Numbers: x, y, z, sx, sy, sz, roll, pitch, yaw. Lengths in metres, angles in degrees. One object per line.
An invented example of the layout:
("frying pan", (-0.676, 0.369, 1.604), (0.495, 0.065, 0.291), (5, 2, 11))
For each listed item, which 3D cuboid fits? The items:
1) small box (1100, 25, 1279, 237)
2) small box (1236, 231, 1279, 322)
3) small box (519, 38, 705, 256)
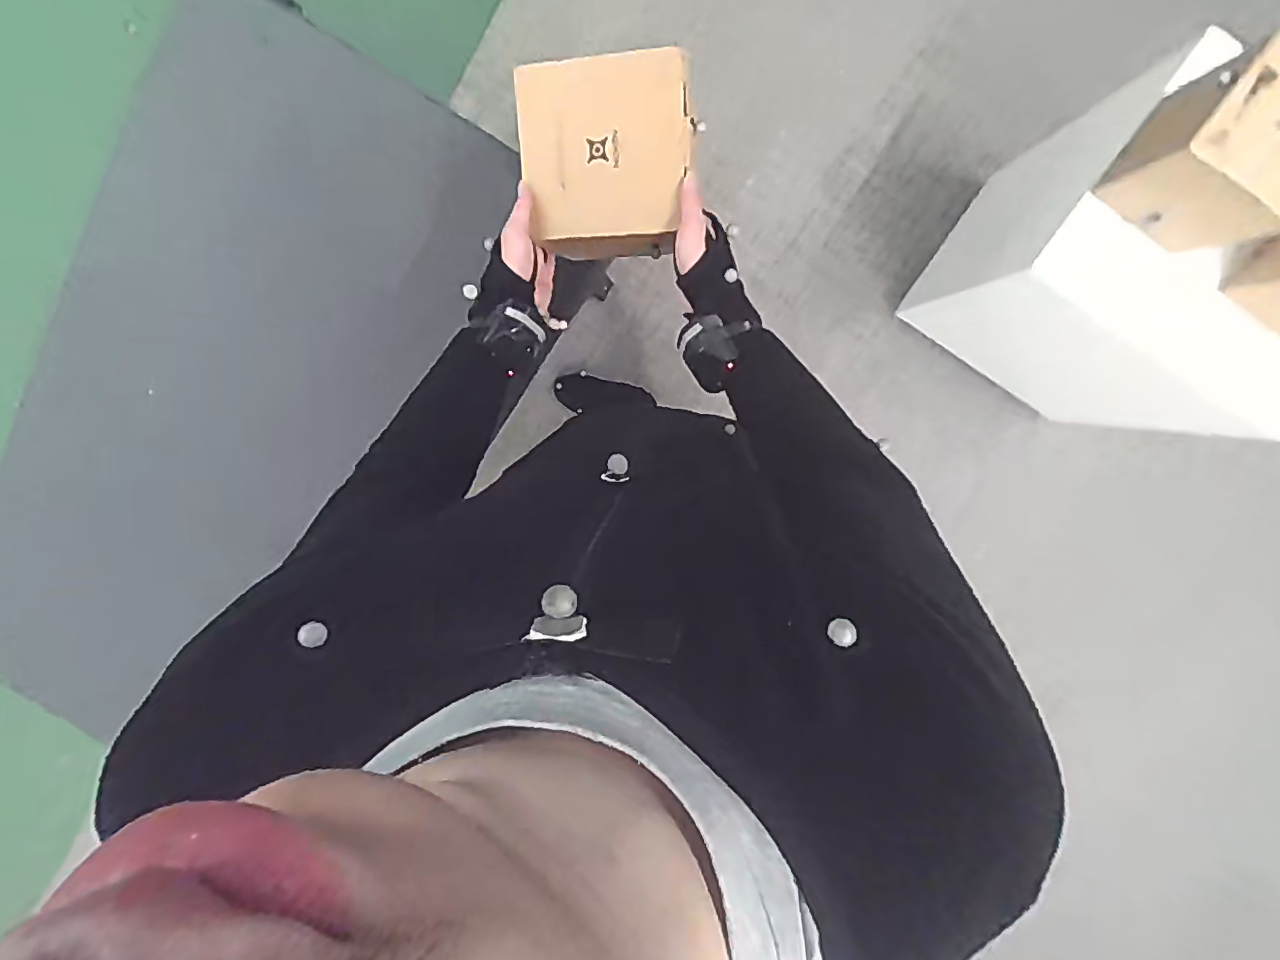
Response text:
("small box", (0.796, -0.453, 0.725), (0.179, 0.176, 0.168), (34, 101, -4))
("small box", (1.008, -0.304, 0.738), (0.179, 0.176, 0.168), (35, 101, -3))
("small box", (-0.018, -0.356, 0.614), (0.179, 0.176, 0.168), (1, 105, 12))
